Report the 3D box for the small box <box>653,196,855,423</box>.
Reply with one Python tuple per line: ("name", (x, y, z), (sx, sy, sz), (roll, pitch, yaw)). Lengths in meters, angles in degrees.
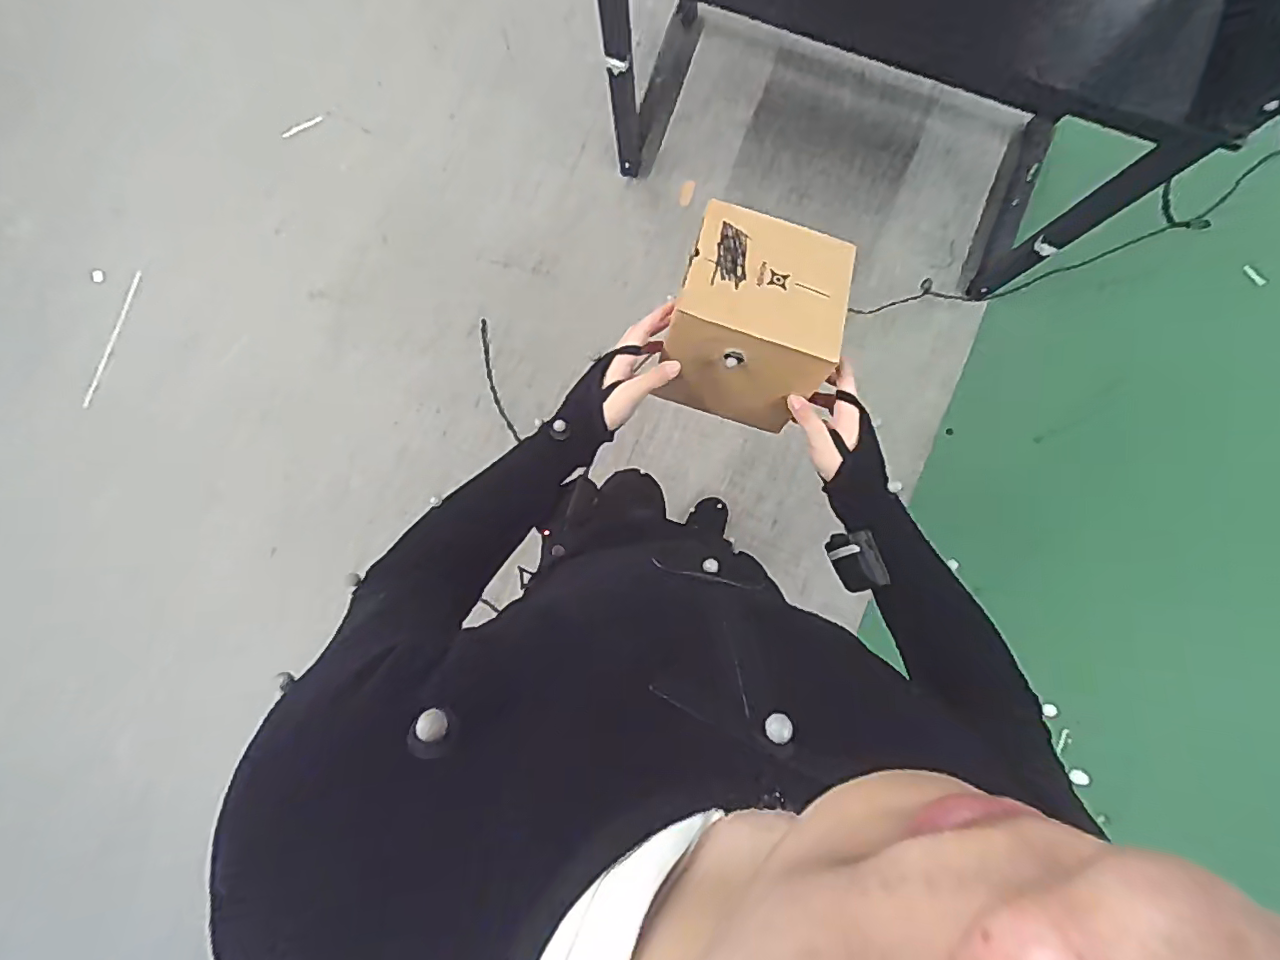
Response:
("small box", (0.124, -0.188, 0.638), (0.179, 0.176, 0.168), (17, 68, -2))
